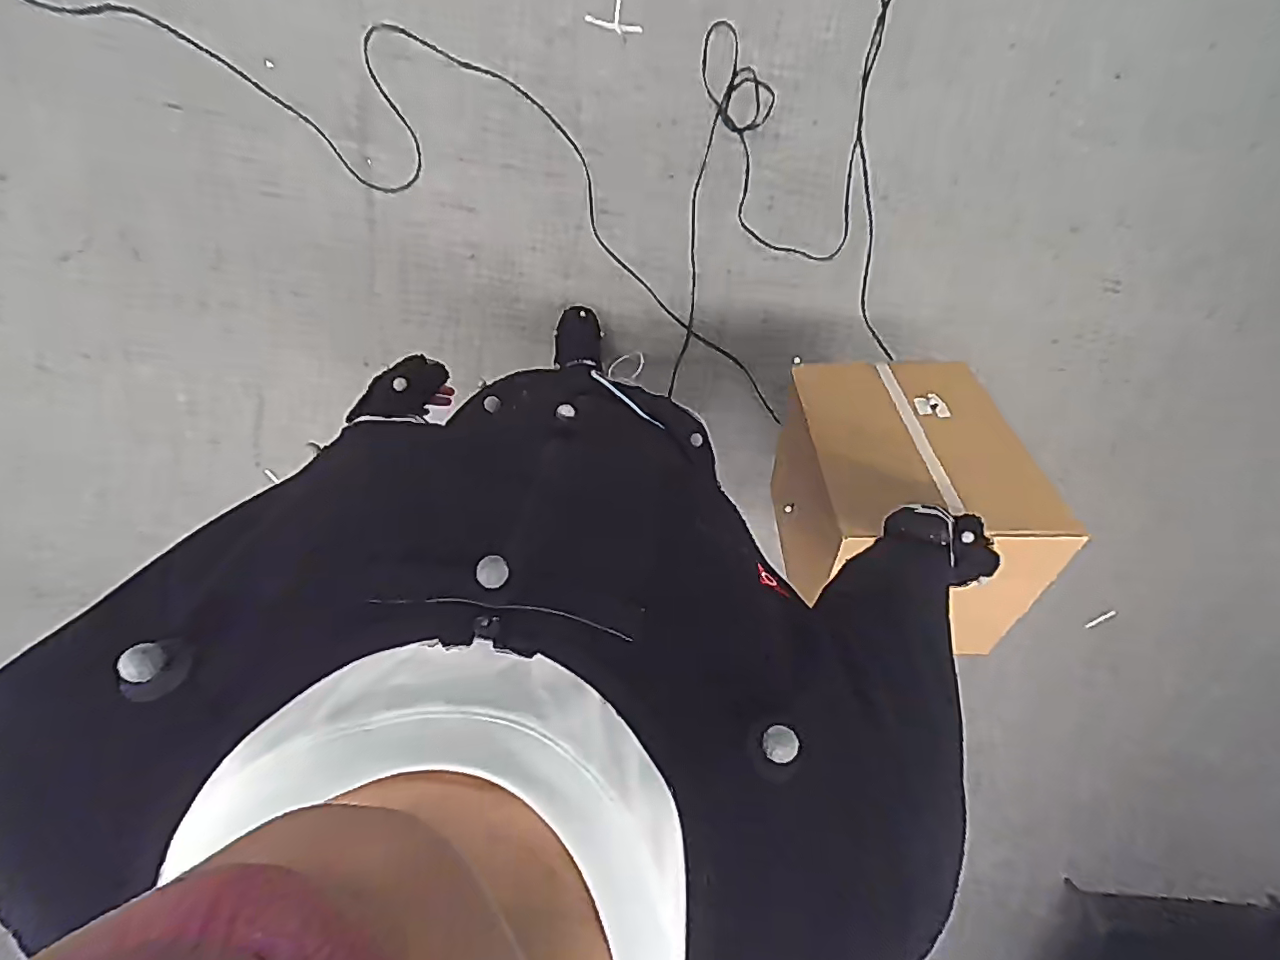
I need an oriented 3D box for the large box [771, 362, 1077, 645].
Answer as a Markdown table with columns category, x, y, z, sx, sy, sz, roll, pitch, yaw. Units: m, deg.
| category | x | y | z | sx | sy | sz | roll | pitch | yaw |
| --- | --- | --- | --- | --- | --- | --- | --- | --- | --- |
| large box | 0.430 | 0.036 | 0.951 | 0.320 | 0.408 | 0.320 | 0 | 134 | 2 |
